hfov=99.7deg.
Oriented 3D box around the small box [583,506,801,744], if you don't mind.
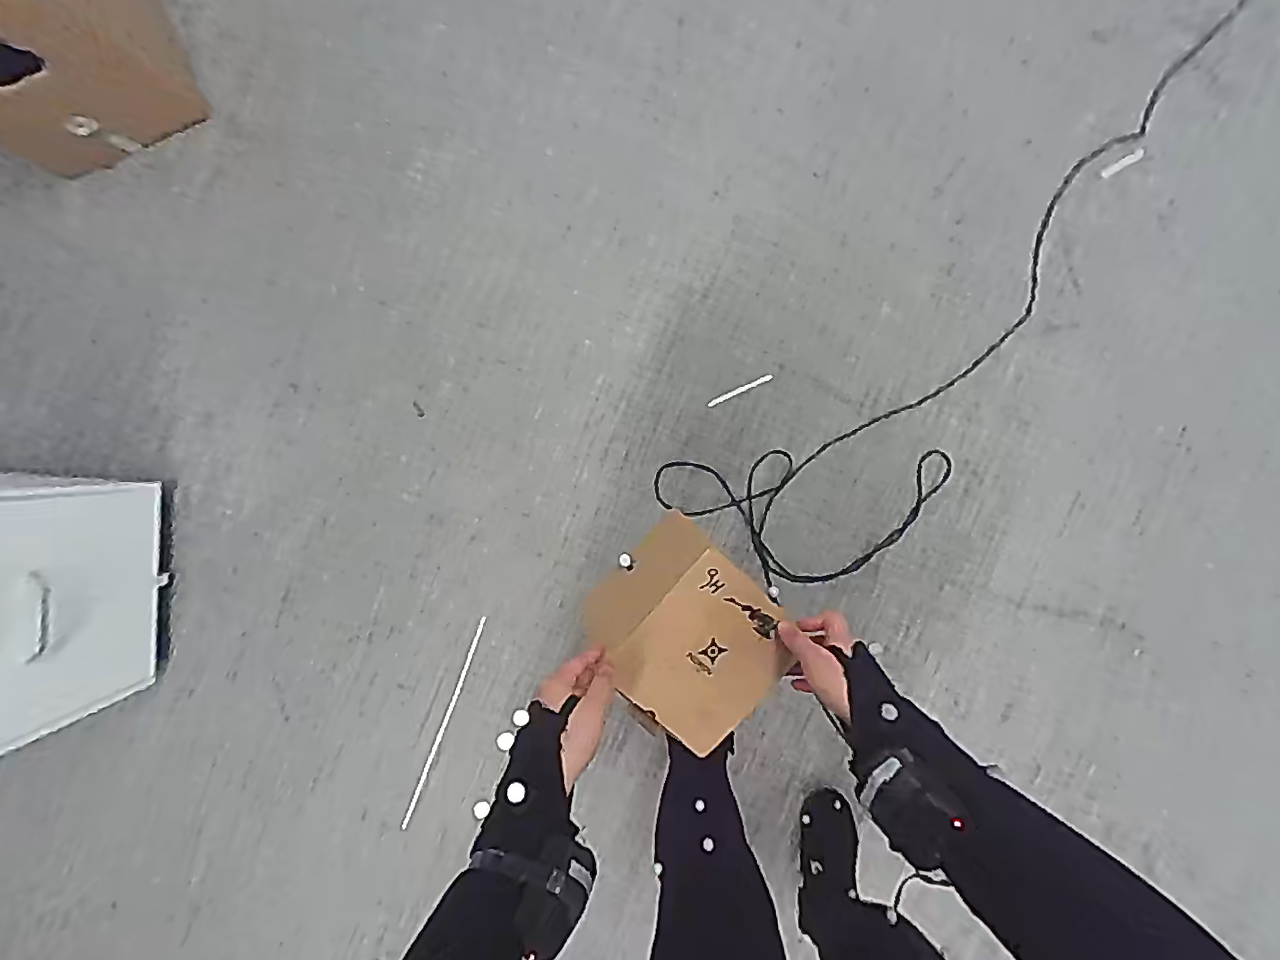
[{"bbox_3d":[0.048,0.159,0.642,0.179,0.176,0.168,-45,105,2],"label":"small box"}]
